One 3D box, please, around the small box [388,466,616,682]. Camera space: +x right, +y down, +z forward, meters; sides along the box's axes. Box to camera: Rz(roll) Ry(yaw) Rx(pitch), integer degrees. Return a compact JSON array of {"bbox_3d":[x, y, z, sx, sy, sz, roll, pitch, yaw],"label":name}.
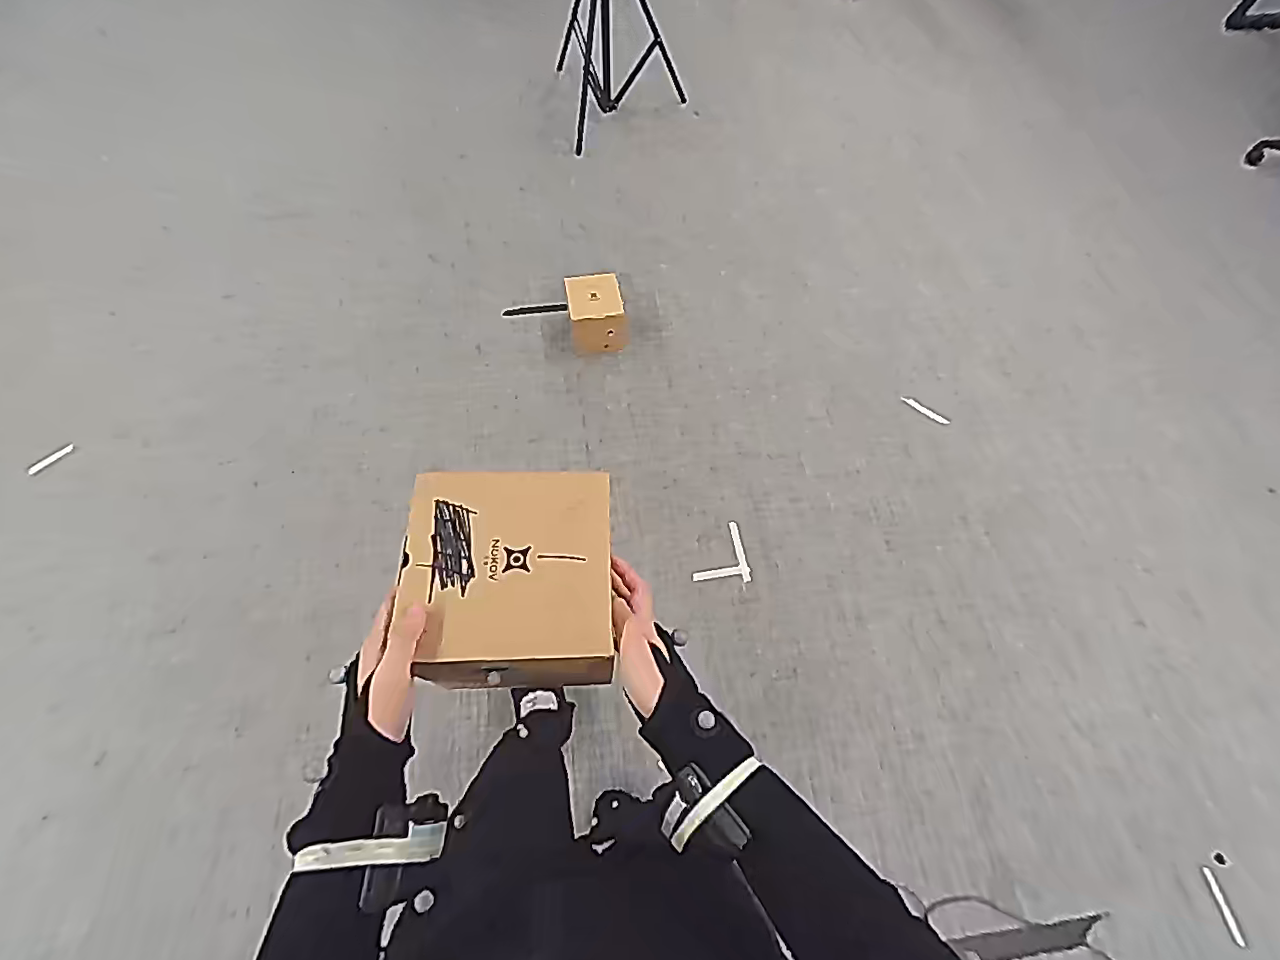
[{"bbox_3d":[-0.113,0.098,0.523,0.179,0.176,0.168,0,63,-4],"label":"small box"}]
